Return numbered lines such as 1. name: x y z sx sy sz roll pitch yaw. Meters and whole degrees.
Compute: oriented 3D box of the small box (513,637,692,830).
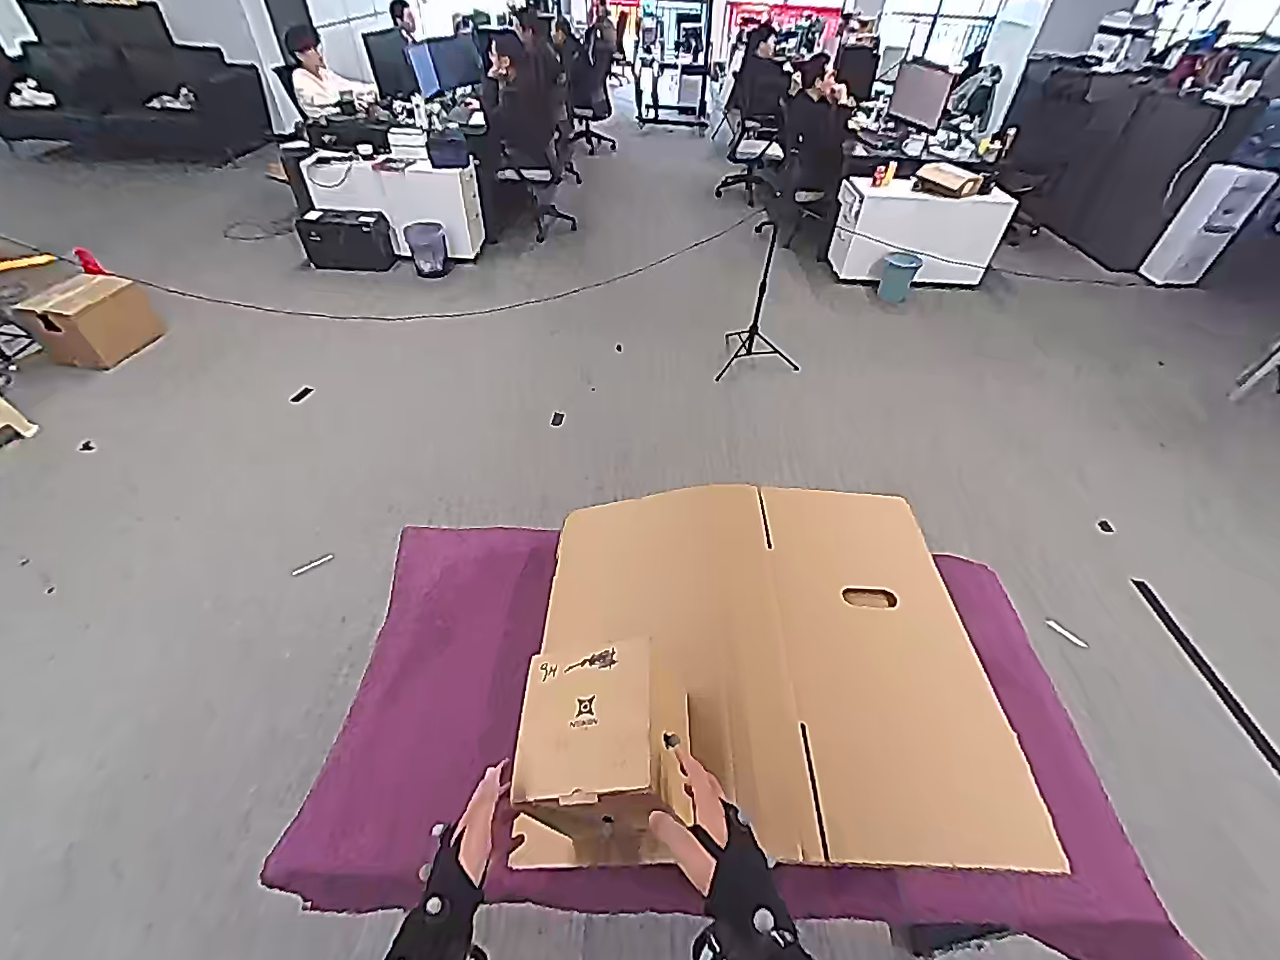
1. small box: -0.036 0.327 0.684 0.168 0.176 0.179 -13 44 14
